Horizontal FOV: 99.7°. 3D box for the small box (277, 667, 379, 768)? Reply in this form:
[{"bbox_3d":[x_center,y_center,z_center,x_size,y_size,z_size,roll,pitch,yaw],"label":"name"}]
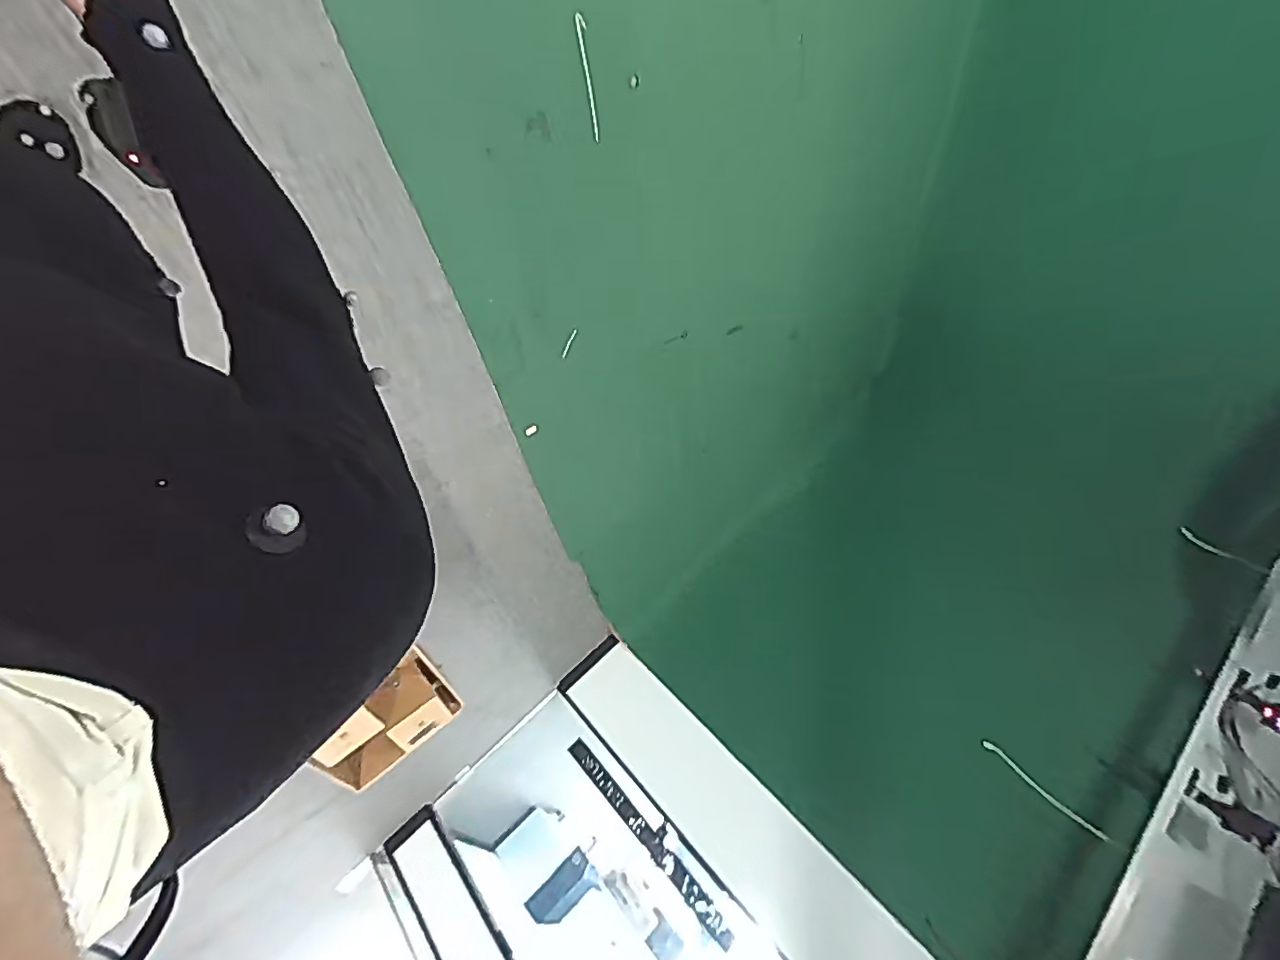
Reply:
[{"bbox_3d":[-0.878,0.659,1.521,0.168,0.176,0.179,-34,142,-25],"label":"small box"}]
